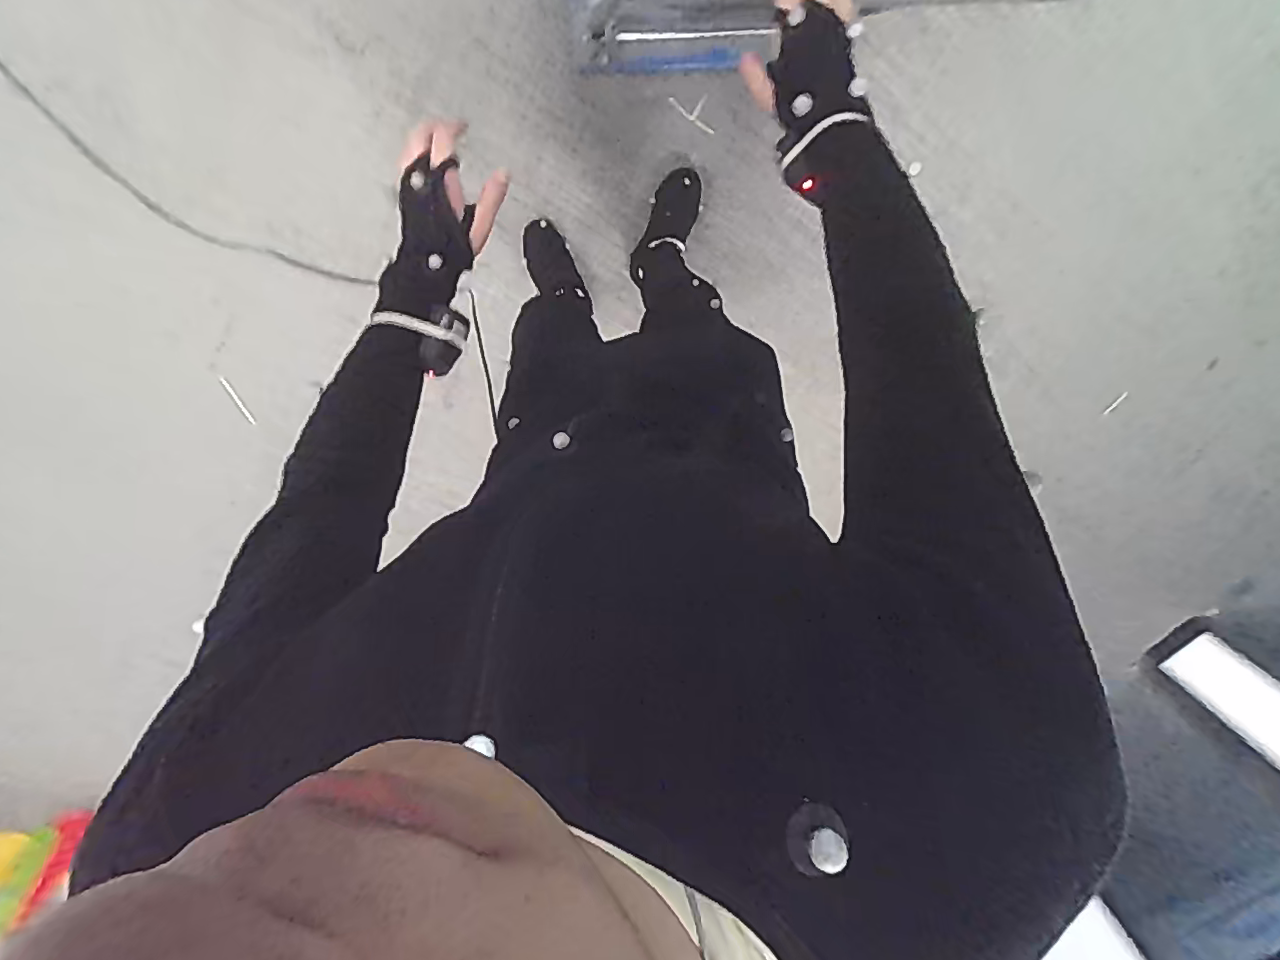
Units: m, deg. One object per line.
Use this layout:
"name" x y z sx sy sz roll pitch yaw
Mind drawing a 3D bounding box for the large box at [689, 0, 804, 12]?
"large box" 0.243 -1.023 0.829 0.320 0.320 0.408 -8 121 -5
